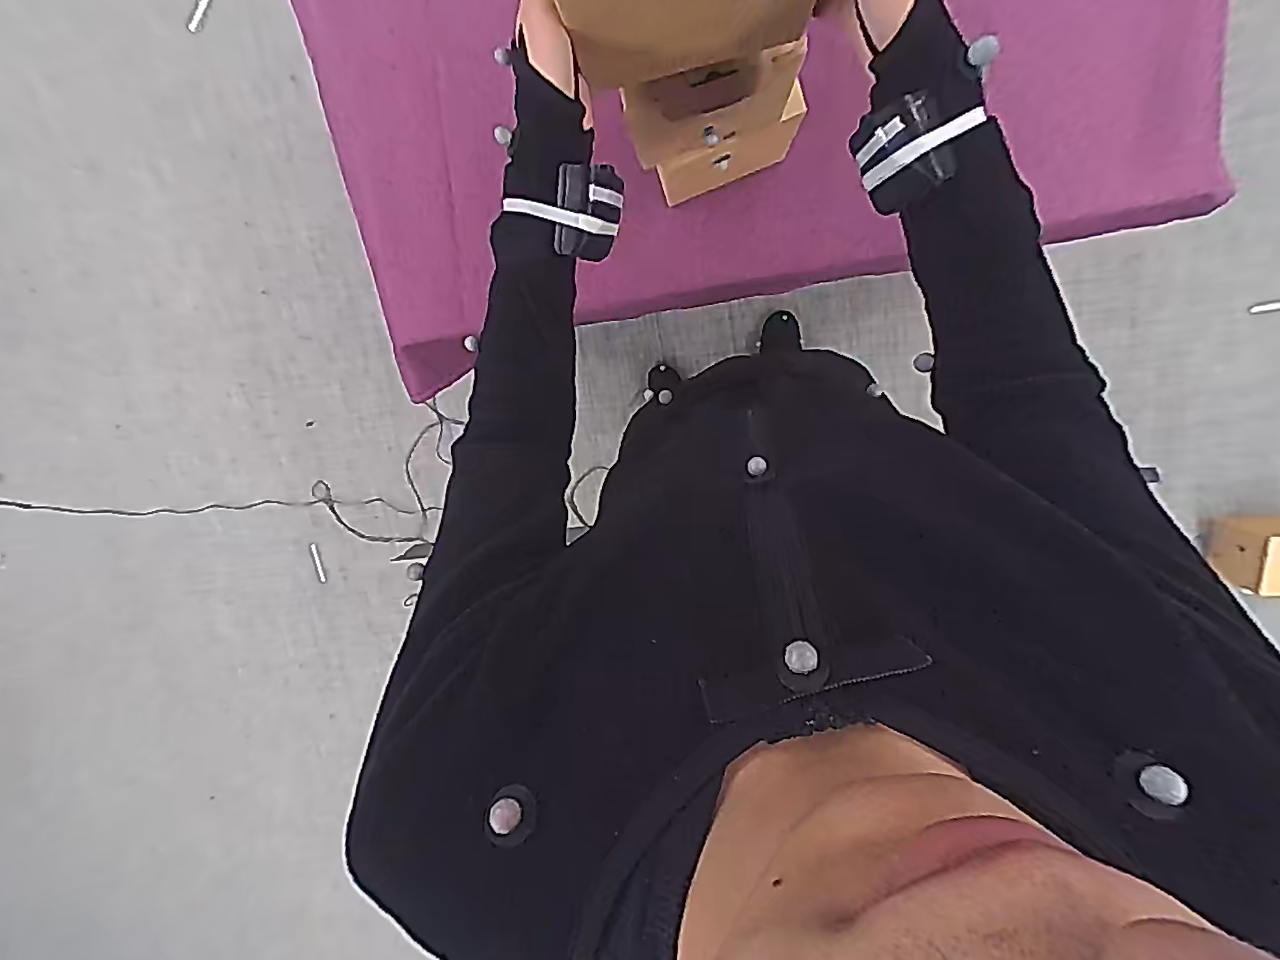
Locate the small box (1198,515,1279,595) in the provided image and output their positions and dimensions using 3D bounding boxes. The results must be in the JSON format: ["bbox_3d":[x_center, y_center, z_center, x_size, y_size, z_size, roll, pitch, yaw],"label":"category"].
[{"bbox_3d":[1.687,0.200,1.468,0.179,0.176,0.168,-4,103,6],"label":"small box"}]

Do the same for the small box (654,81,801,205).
[{"bbox_3d":[0.086,-0.483,0.696,0.179,0.176,0.168,-19,101,9],"label":"small box"}]

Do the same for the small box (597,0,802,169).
[{"bbox_3d":[0.049,-0.448,0.538,0.168,0.176,0.179,-13,102,9],"label":"small box"}]
